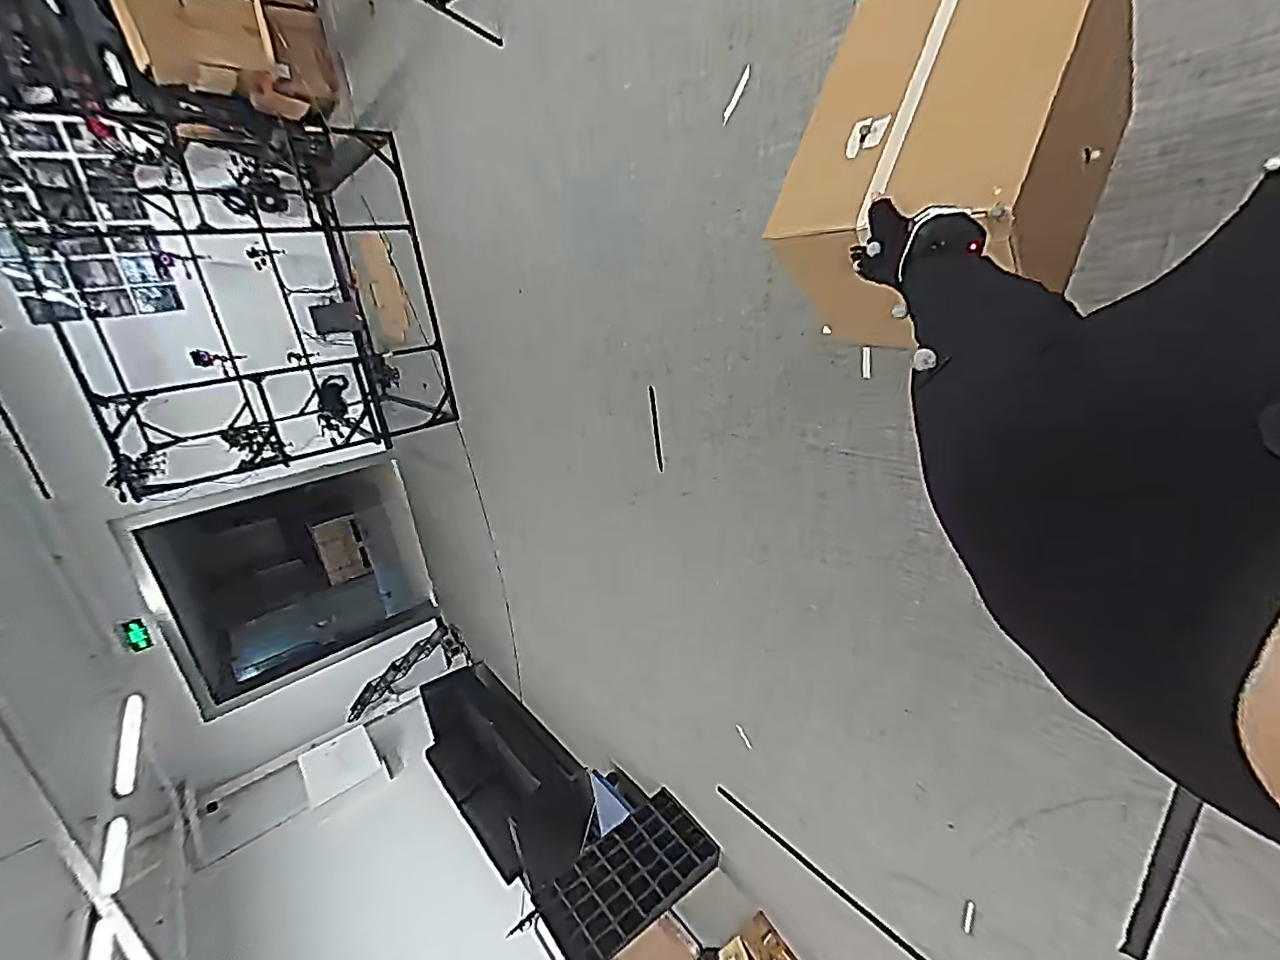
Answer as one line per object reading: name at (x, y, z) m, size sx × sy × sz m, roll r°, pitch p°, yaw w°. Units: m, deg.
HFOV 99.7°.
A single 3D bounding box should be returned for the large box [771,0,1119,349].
large box at (0.459, -0.452, 0.803) m, size 0.320 × 0.320 × 0.408 m, roll 19°, pitch 85°, yaw 46°
